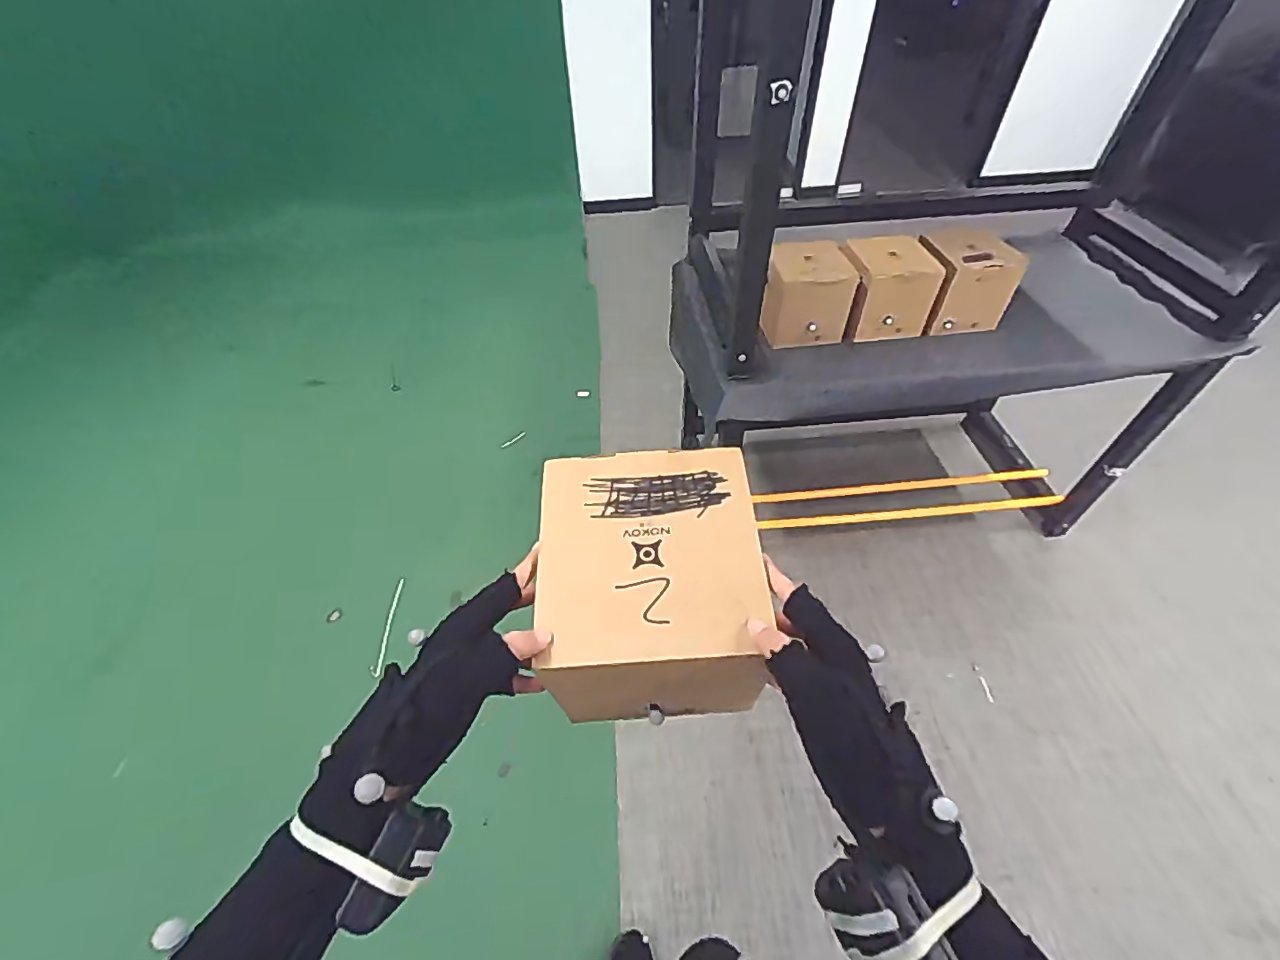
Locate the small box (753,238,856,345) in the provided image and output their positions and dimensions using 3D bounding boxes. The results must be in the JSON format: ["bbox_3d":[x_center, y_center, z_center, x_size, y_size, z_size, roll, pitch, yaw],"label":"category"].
[{"bbox_3d":[0.368,-0.435,1.248,0.168,0.176,0.179,-7,48,-3],"label":"small box"}]

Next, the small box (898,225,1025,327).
[{"bbox_3d":[0.740,-0.472,1.268,0.168,0.176,0.179,-6,47,-3],"label":"small box"}]
